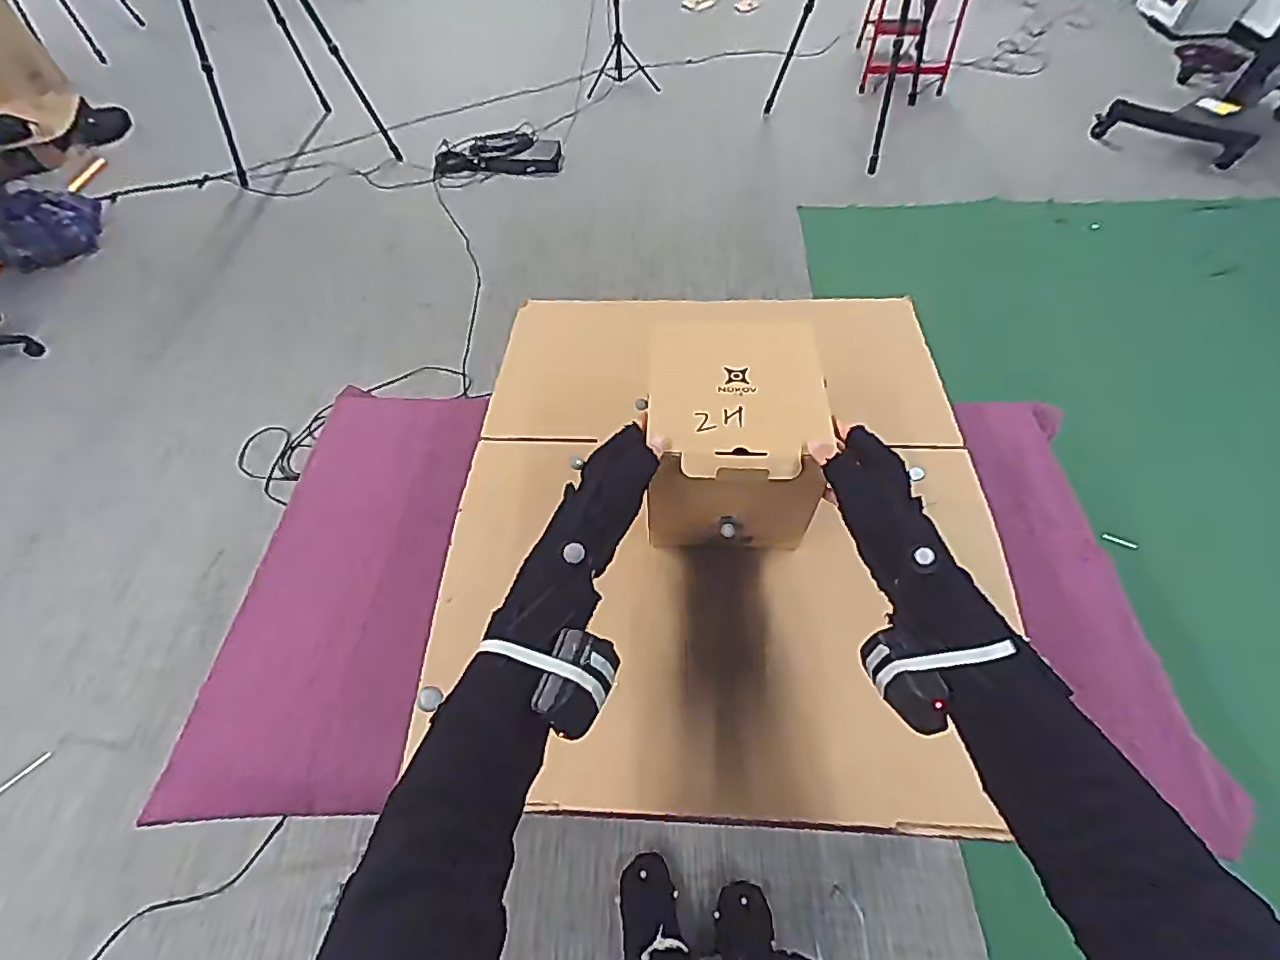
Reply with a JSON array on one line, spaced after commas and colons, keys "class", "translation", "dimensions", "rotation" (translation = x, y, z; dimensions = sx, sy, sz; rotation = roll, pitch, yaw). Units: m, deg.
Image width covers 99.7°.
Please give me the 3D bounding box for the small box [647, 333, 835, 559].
[{"class": "small box", "translation": [0.095, -0.035, 0.580], "dimensions": [0.168, 0.176, 0.179], "rotation": [1, 55, 5]}]
